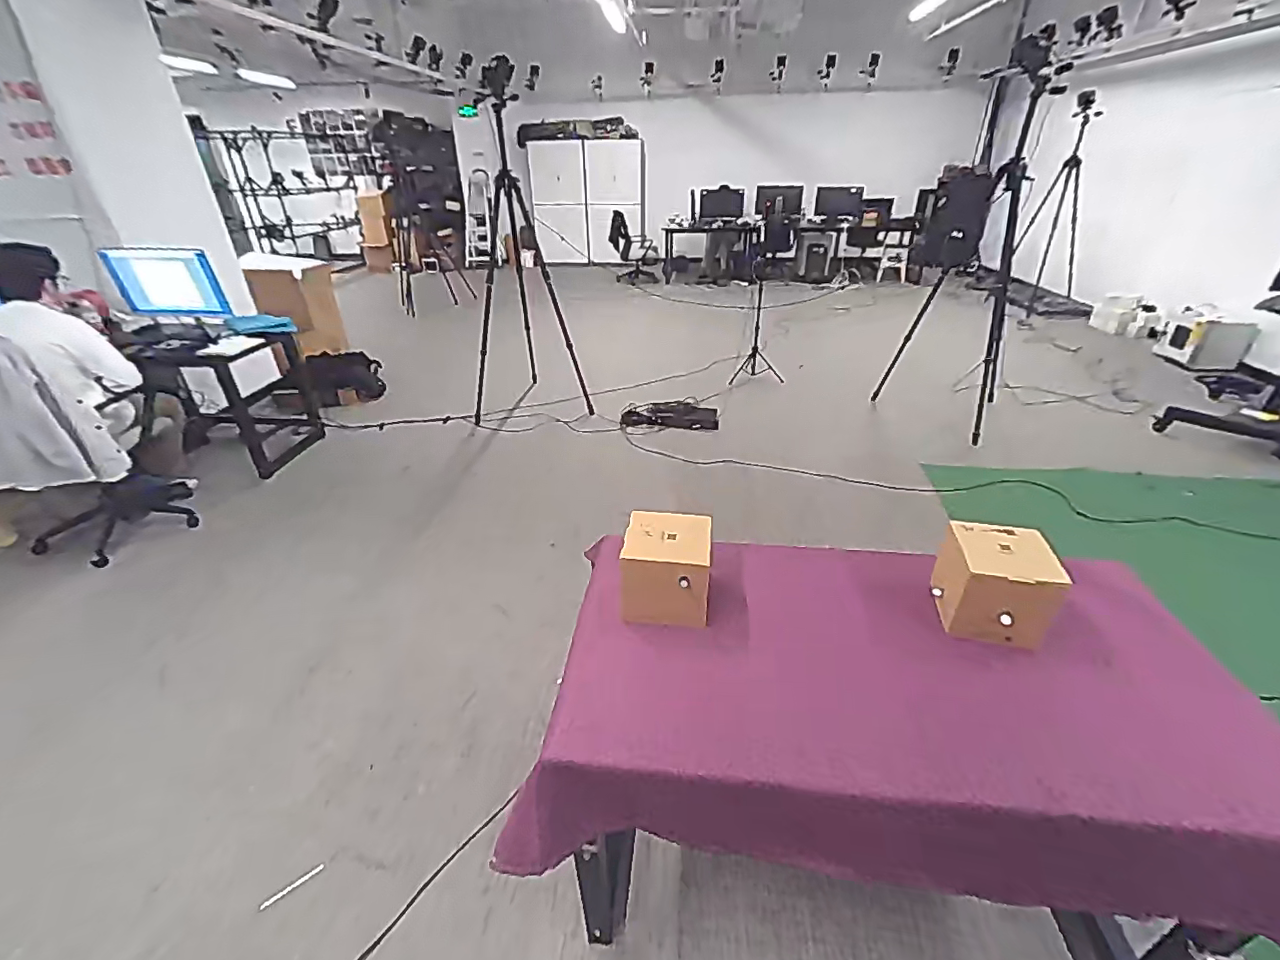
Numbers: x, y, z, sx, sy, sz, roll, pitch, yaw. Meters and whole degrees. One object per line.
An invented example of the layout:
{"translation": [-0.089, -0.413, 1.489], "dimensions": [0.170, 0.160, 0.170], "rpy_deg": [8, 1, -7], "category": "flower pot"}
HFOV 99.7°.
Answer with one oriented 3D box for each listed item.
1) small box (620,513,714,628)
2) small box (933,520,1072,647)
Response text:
{"translation": [0.061, 0.189, 1.133], "dimensions": [0.179, 0.176, 0.168], "rpy_deg": [3, 30, 8], "category": "small box"}
{"translation": [0.702, 0.203, 1.071], "dimensions": [0.168, 0.176, 0.179], "rpy_deg": [7, 32, 13], "category": "small box"}
